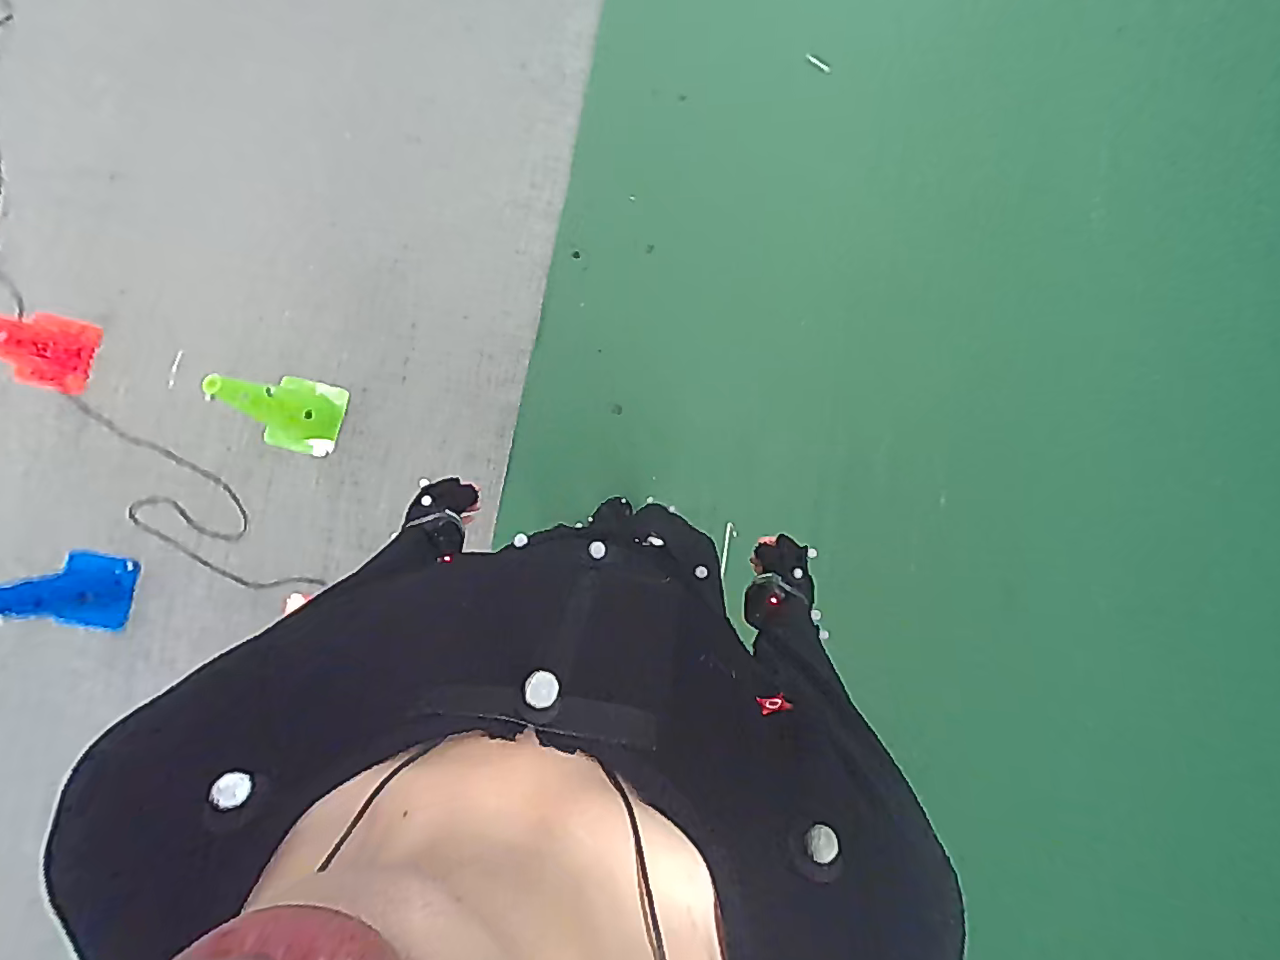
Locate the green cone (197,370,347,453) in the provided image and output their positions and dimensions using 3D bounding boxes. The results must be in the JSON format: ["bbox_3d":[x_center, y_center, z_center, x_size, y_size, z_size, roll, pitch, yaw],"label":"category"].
[{"bbox_3d":[-0.945,-0.207,1.359,0.202,0.368,0.200,13,84,1],"label":"green cone"}]

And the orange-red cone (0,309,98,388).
[{"bbox_3d":[-1.654,-0.386,1.365,0.199,0.360,0.198,16,86,-1],"label":"orange-red cone"}]
